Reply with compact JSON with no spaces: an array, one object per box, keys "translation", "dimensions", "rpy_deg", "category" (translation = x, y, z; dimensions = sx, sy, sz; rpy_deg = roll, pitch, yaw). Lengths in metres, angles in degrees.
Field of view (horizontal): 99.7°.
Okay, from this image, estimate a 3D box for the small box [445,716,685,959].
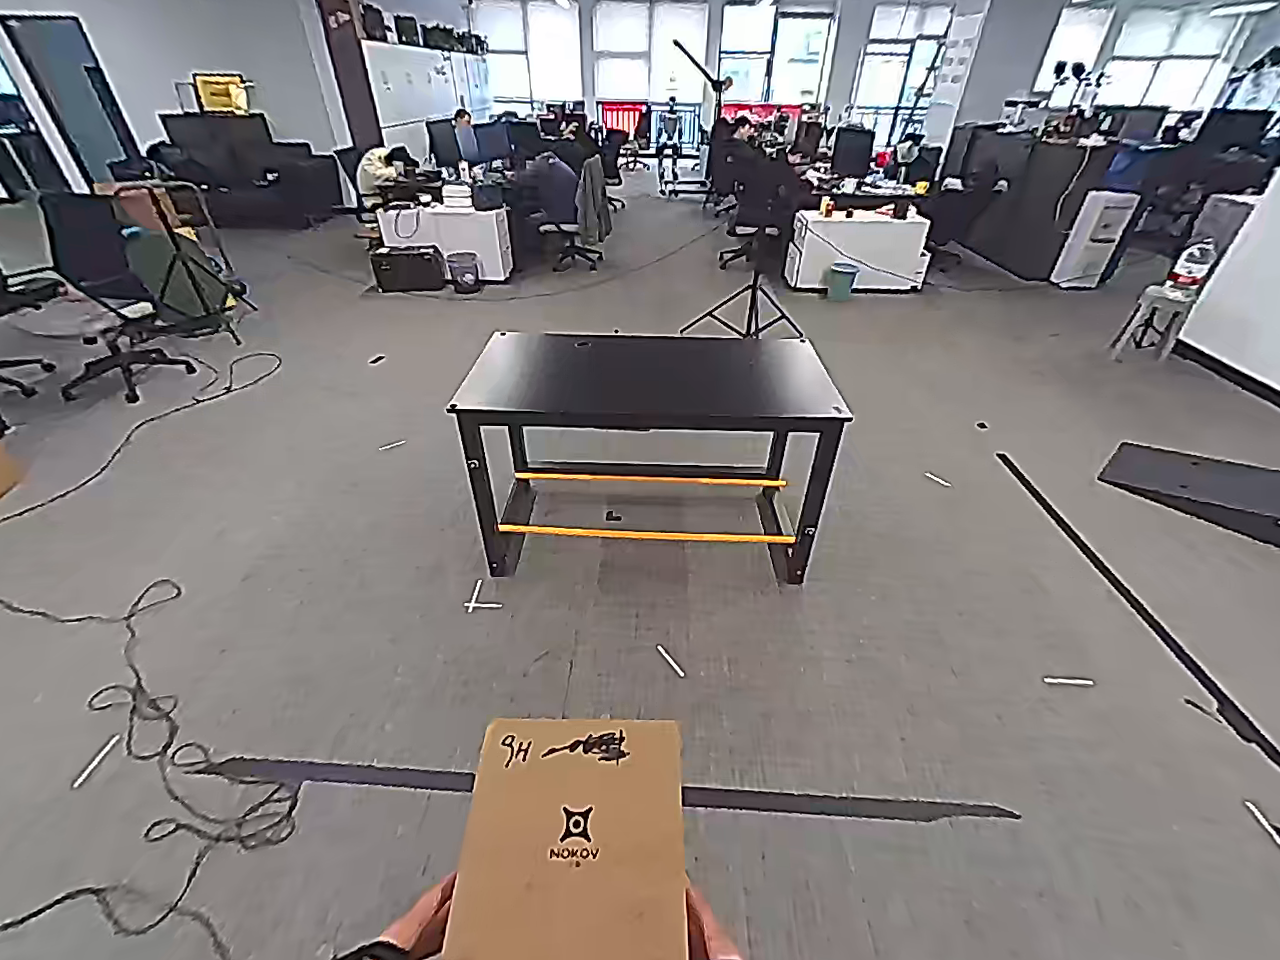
[{"translation":[-0.049,0.323,0.468],"dimensions":[0.168,0.176,0.179],"rpy_deg":[0,46,0],"category":"small box"}]
